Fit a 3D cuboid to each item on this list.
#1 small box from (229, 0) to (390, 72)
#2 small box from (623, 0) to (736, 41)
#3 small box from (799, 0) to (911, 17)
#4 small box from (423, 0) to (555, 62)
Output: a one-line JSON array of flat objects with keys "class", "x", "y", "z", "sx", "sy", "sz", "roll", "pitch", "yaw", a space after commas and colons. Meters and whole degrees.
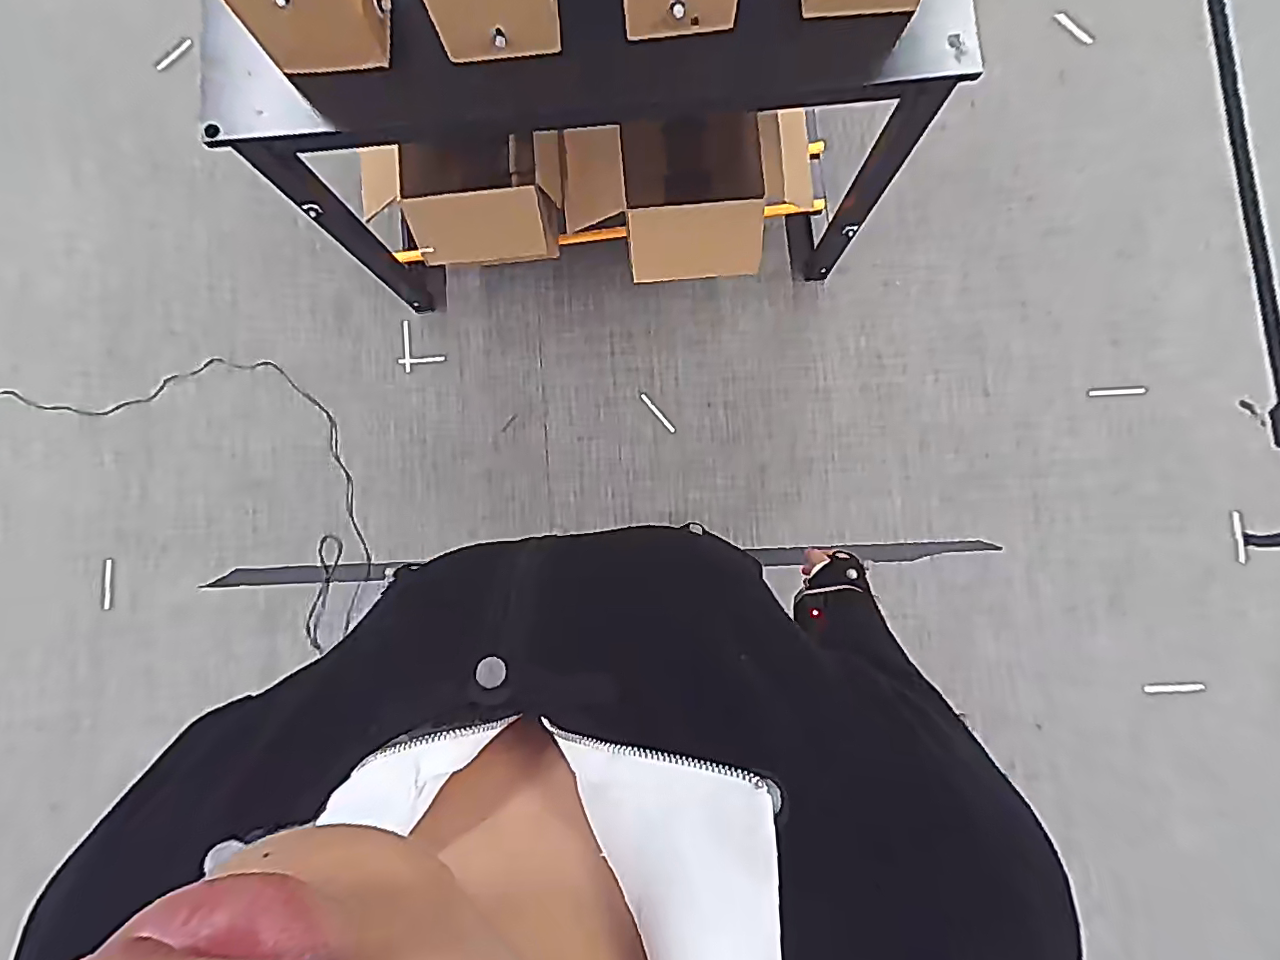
[{"class": "small box", "x": -0.481, "y": -0.724, "z": 0.770, "sx": 0.179, "sy": 0.176, "sz": 0.168, "roll": -3, "pitch": 86, "yaw": 0}, {"class": "small box", "x": 0.051, "y": -0.777, "z": 0.762, "sx": 0.168, "sy": 0.176, "sz": 0.179, "roll": -6, "pitch": 85, "yaw": 1}, {"class": "small box", "x": 0.330, "y": -0.798, "z": 0.755, "sx": 0.179, "sy": 0.176, "sz": 0.168, "roll": -2, "pitch": 84, "yaw": 2}, {"class": "small box", "x": -0.218, "y": -0.739, "z": 0.765, "sx": 0.179, "sy": 0.176, "sz": 0.168, "roll": -5, "pitch": 85, "yaw": 0}]
